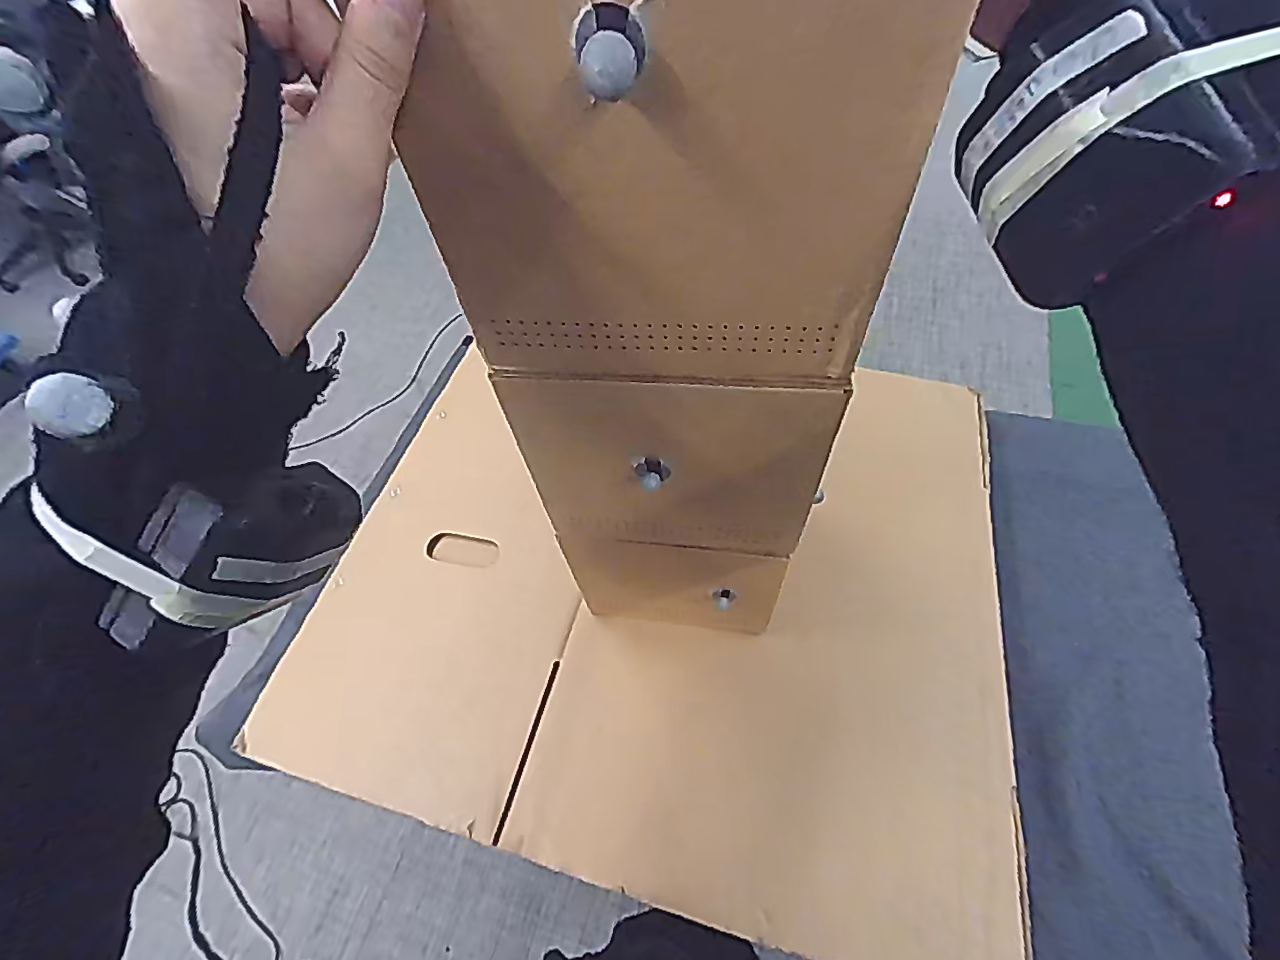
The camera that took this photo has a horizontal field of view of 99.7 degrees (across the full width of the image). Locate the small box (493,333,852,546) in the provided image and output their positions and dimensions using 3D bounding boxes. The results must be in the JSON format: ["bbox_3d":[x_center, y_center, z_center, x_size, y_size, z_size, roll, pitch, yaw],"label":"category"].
[{"bbox_3d":[0.028,-0.067,0.366,0.179,0.176,0.168,3,56,8],"label":"small box"}]

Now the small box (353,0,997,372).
[{"bbox_3d":[0.018,-0.162,0.235,0.179,0.176,0.168,3,56,8],"label":"small box"}]

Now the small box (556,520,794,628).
[{"bbox_3d":[0.040,0.027,0.501,0.179,0.176,0.168,4,56,9],"label":"small box"}]
